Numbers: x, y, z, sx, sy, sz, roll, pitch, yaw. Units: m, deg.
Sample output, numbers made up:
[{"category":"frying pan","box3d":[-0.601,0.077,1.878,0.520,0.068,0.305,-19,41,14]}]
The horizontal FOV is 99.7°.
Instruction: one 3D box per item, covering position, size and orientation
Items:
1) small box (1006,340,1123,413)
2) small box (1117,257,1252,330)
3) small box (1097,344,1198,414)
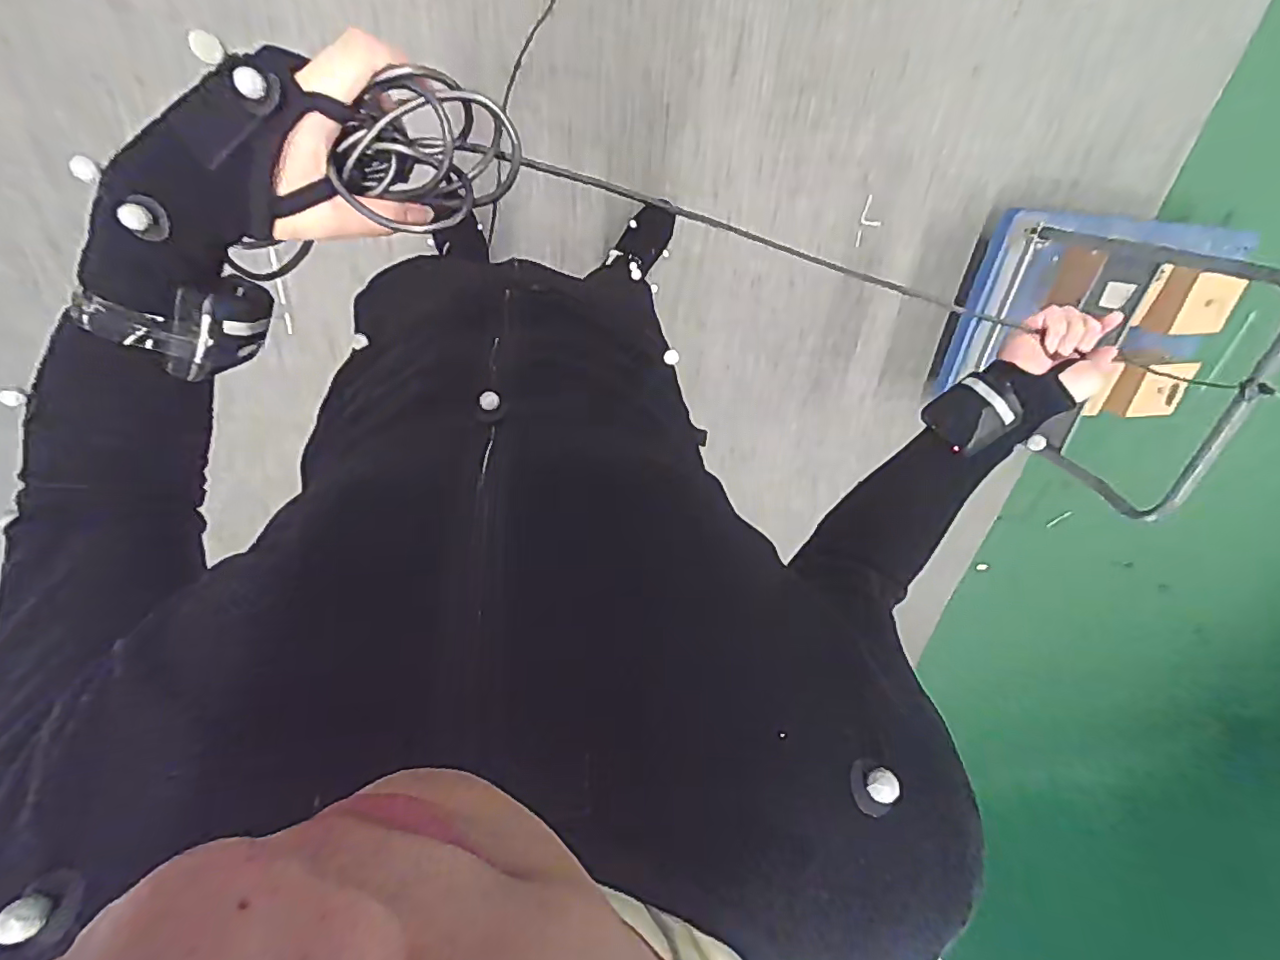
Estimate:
[{"category":"small box","box3d":[1.250,-0.310,1.604,0.179,0.176,0.168,0,122,-11]},{"category":"small box","box3d":[1.520,-0.527,1.525,0.179,0.176,0.168,-4,123,-10]},{"category":"small box","box3d":[1.514,-0.313,1.658,0.179,0.176,0.168,-3,122,-9]}]
